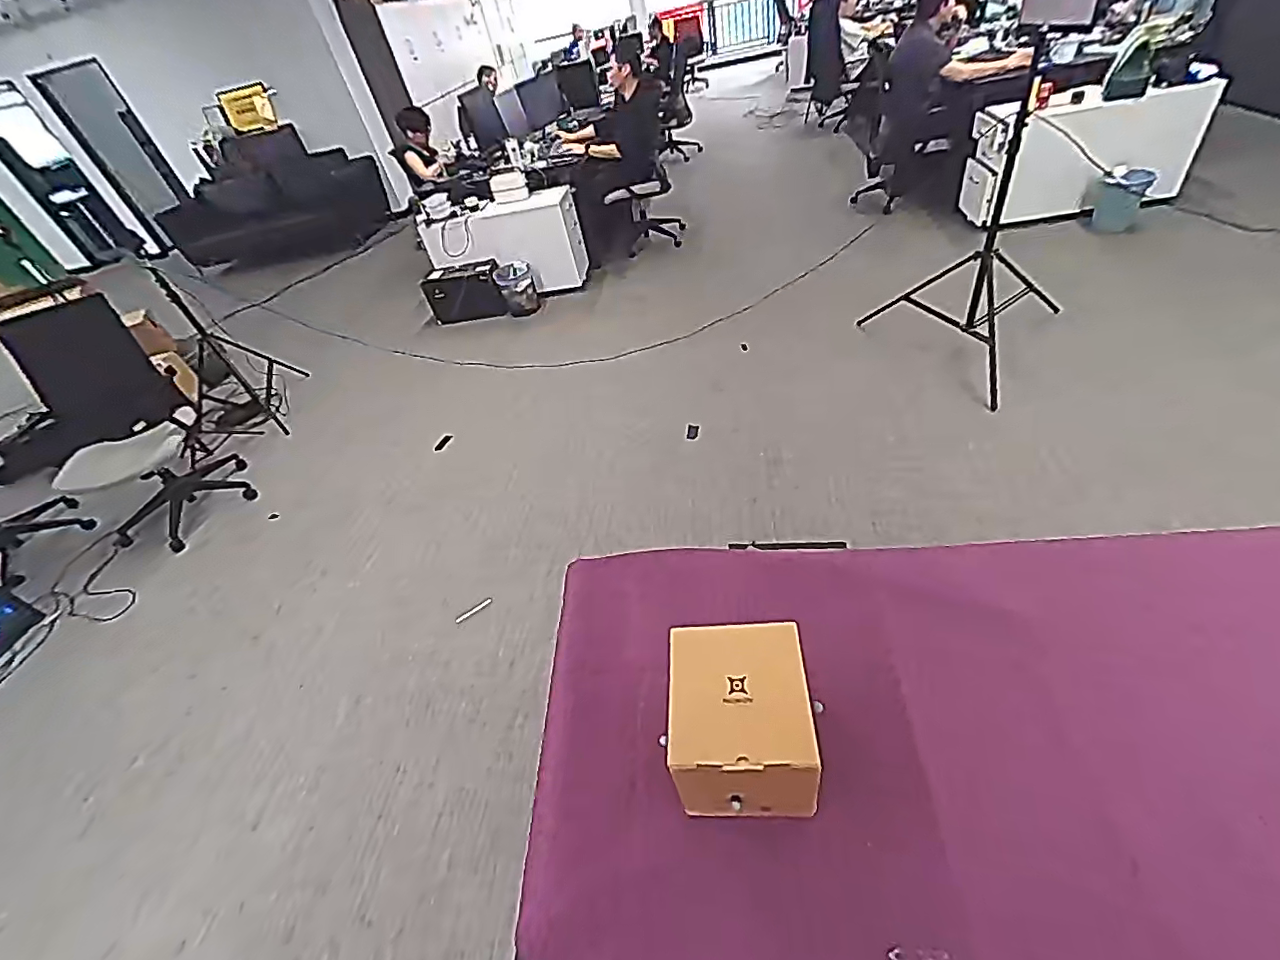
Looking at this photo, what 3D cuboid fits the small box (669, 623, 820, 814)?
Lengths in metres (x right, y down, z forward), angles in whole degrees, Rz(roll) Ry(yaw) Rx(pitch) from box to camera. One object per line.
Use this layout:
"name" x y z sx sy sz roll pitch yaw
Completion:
"small box" 0.129 0.308 0.700 0.168 0.176 0.179 -5 44 9
